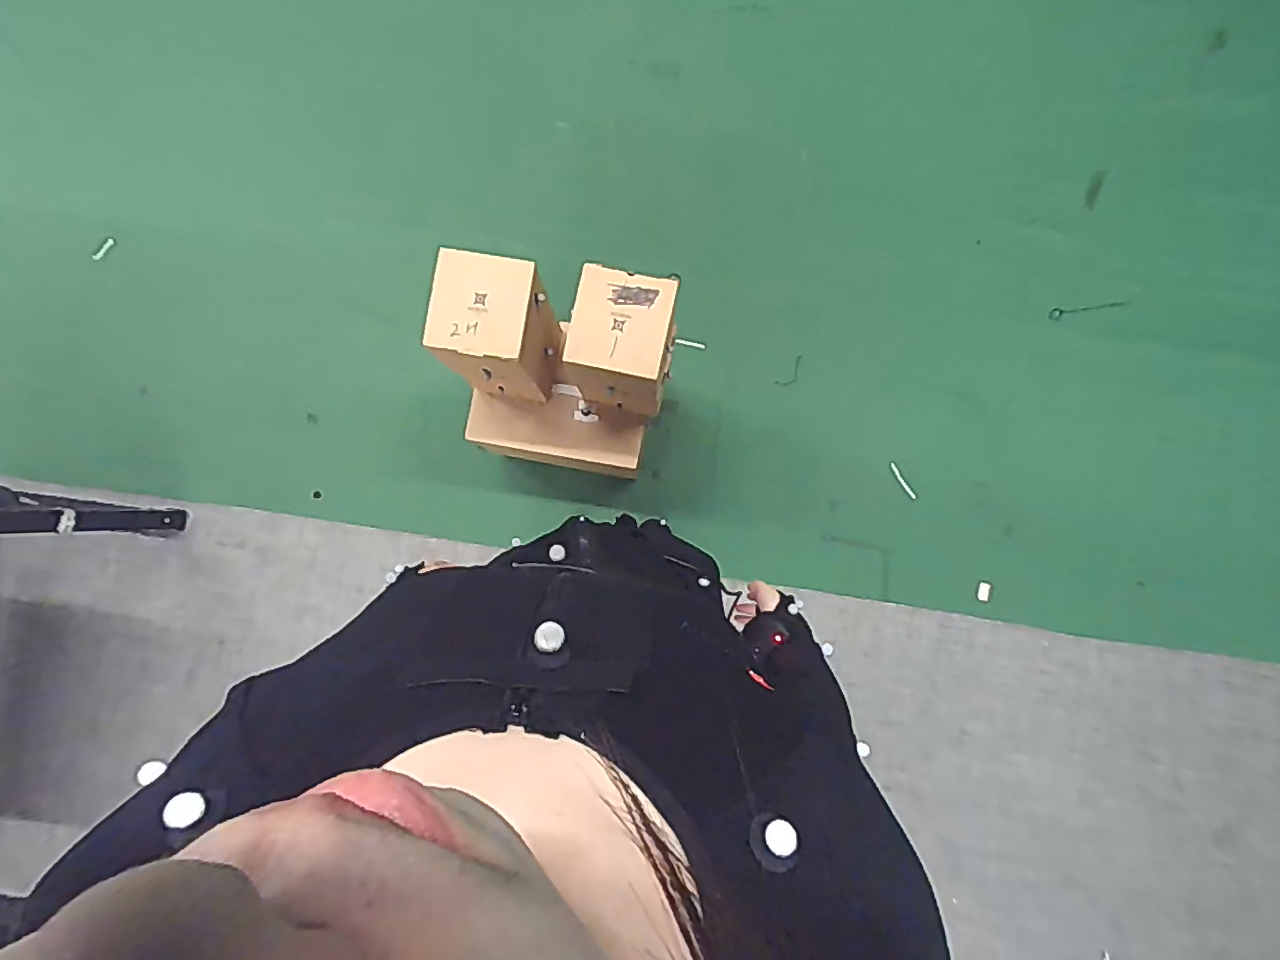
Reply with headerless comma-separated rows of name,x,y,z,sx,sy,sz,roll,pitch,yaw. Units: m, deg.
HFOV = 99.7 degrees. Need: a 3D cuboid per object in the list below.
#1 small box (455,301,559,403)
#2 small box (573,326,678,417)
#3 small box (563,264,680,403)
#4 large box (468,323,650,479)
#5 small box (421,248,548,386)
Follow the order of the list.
small box,-0.272,-0.277,1.144,0.168,0.176,0.179,10,86,0
small box,-0.026,-0.240,1.138,0.179,0.176,0.168,14,86,3
small box,-0.030,-0.254,0.972,0.168,0.176,0.179,13,87,3
large box,-0.175,-0.193,1.380,0.408,0.320,0.320,10,87,0
small box,-0.270,-0.286,0.979,0.168,0.176,0.179,9,86,1
